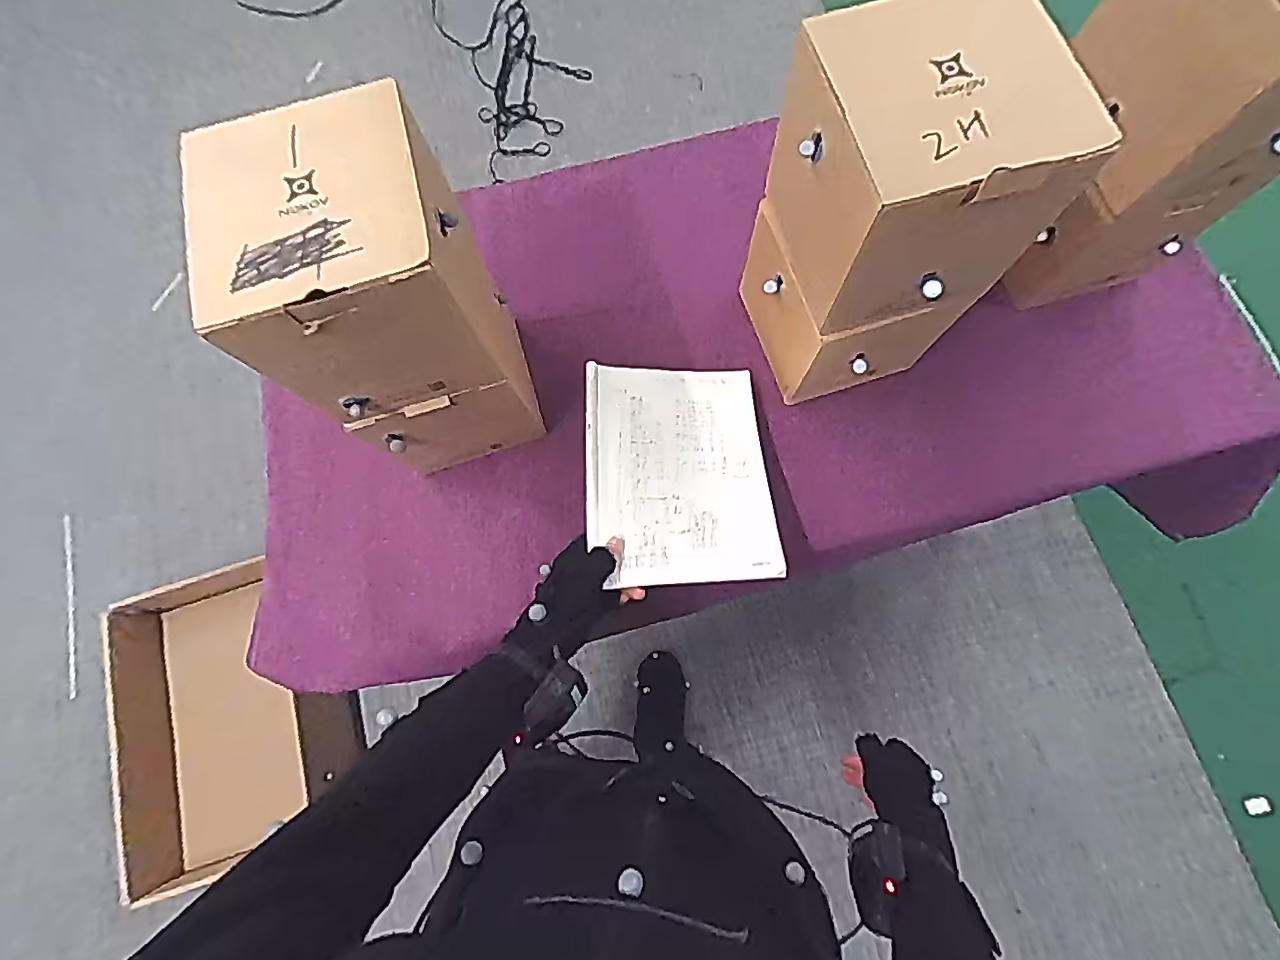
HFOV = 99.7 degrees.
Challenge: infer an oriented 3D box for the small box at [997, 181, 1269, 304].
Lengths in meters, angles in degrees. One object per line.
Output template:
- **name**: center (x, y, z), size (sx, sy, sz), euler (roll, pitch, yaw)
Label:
- **small box**: center (0.529, -0.328, 0.632), size (0.168, 0.176, 0.179), euler (-14, 75, -1)

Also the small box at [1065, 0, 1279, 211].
- **small box**: center (0.516, -0.366, 0.473), size (0.168, 0.176, 0.179), euler (-14, 76, -2)

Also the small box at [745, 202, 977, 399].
- **small box**: center (0.231, -0.209, 0.618), size (0.168, 0.176, 0.179), euler (-17, 75, -1)

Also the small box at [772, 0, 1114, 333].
- **small box**: center (0.224, -0.256, 0.460), size (0.168, 0.176, 0.179), euler (-14, 75, 0)

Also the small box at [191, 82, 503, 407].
- **small box**: center (-0.229, -0.177, 0.459), size (0.168, 0.176, 0.179), euler (-16, 74, -2)
